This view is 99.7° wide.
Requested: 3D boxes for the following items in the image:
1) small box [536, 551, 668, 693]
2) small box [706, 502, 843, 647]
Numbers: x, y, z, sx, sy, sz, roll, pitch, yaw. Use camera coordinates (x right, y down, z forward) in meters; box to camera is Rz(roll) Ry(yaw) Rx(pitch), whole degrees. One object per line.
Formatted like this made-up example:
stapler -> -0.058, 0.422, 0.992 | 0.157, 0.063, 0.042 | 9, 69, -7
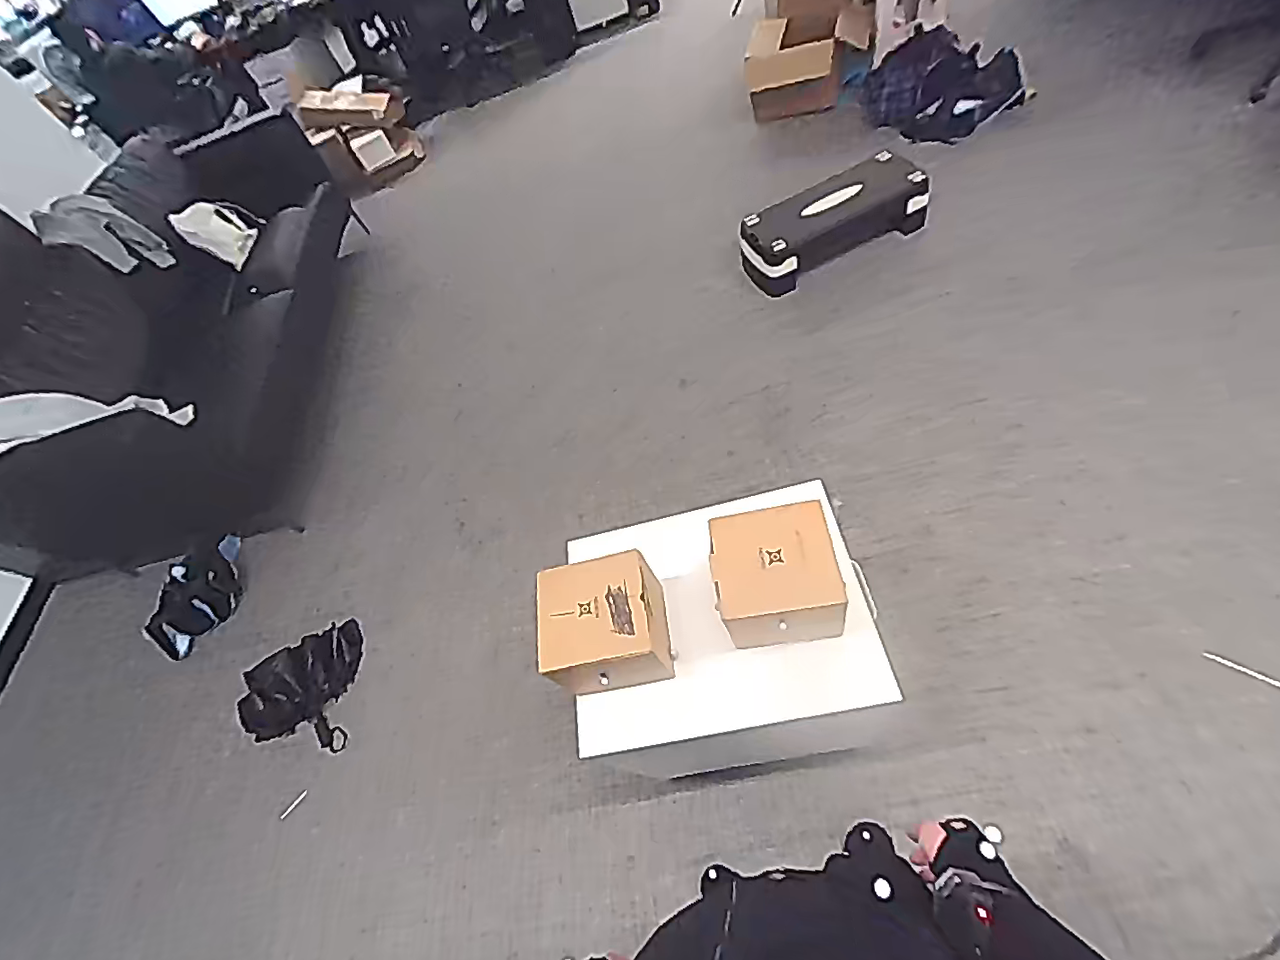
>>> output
small box -> -0.057, 0.239, 0.888 | 0.179, 0.176, 0.168 | -14, 55, 9
small box -> 0.212, 0.156, 0.856 | 0.179, 0.176, 0.168 | -11, 58, 11
